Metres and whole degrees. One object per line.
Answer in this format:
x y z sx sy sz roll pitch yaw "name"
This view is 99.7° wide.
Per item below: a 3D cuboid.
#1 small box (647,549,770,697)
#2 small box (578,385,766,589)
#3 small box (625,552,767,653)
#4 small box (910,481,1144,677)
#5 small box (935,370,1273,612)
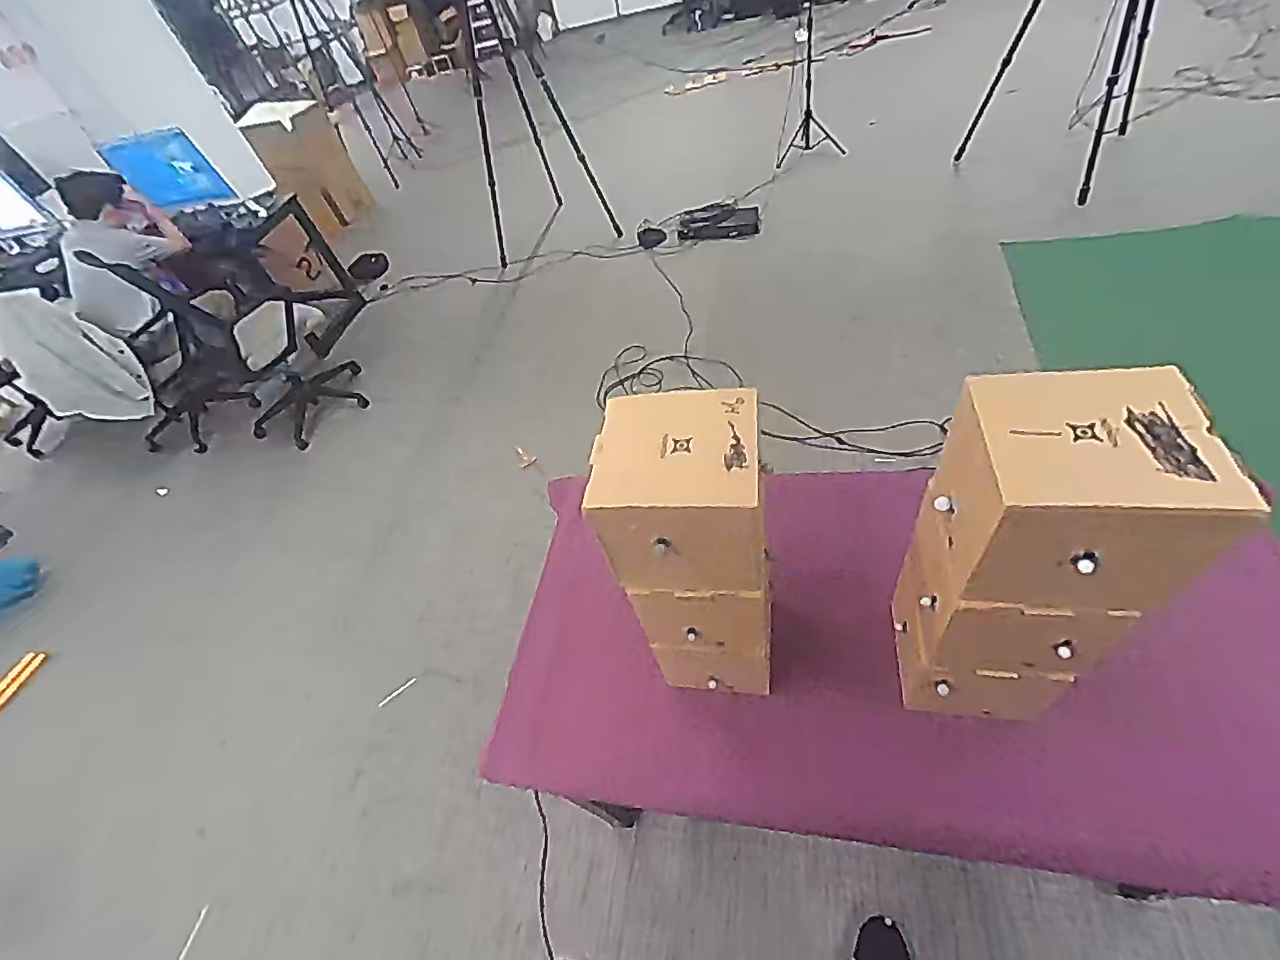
0.119 0.222 0.860 0.168 0.176 0.179 0 51 16 "small box"
0.050 0.013 0.619 0.179 0.176 0.168 -1 51 15 "small box"
0.087 0.117 0.740 0.168 0.176 0.179 -1 51 14 "small box"
0.433 0.118 0.644 0.168 0.176 0.179 0 50 15 "small box"
0.408 0.014 0.521 0.179 0.176 0.168 0 51 16 "small box"
